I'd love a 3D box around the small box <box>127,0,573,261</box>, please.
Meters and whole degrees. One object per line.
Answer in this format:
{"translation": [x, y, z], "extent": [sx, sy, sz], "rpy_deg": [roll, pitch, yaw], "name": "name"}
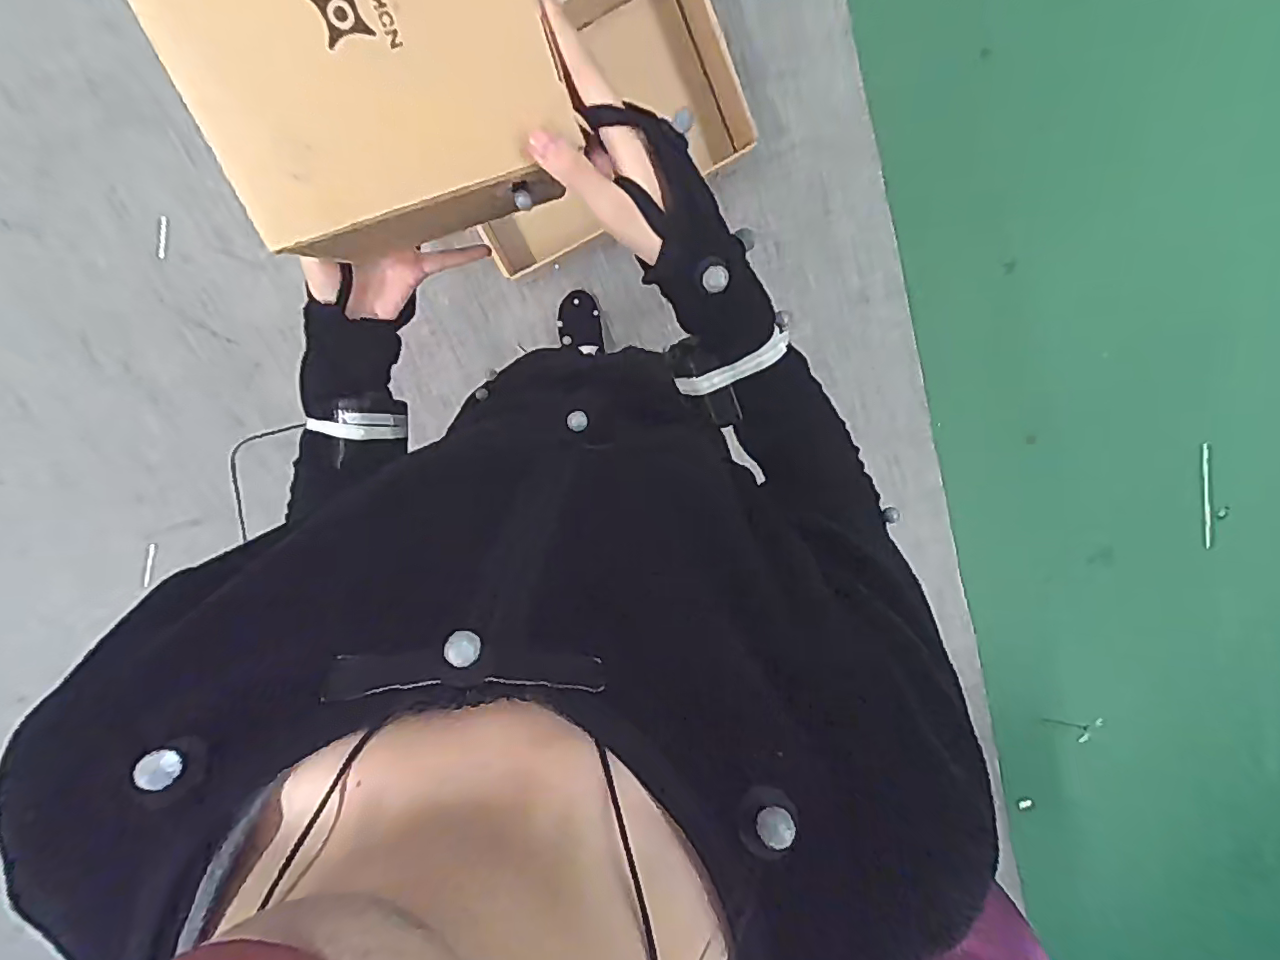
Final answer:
{"translation": [-0.156, -0.245, 0.333], "extent": [0.179, 0.176, 0.168], "rpy_deg": [-22, 113, -6], "name": "small box"}
